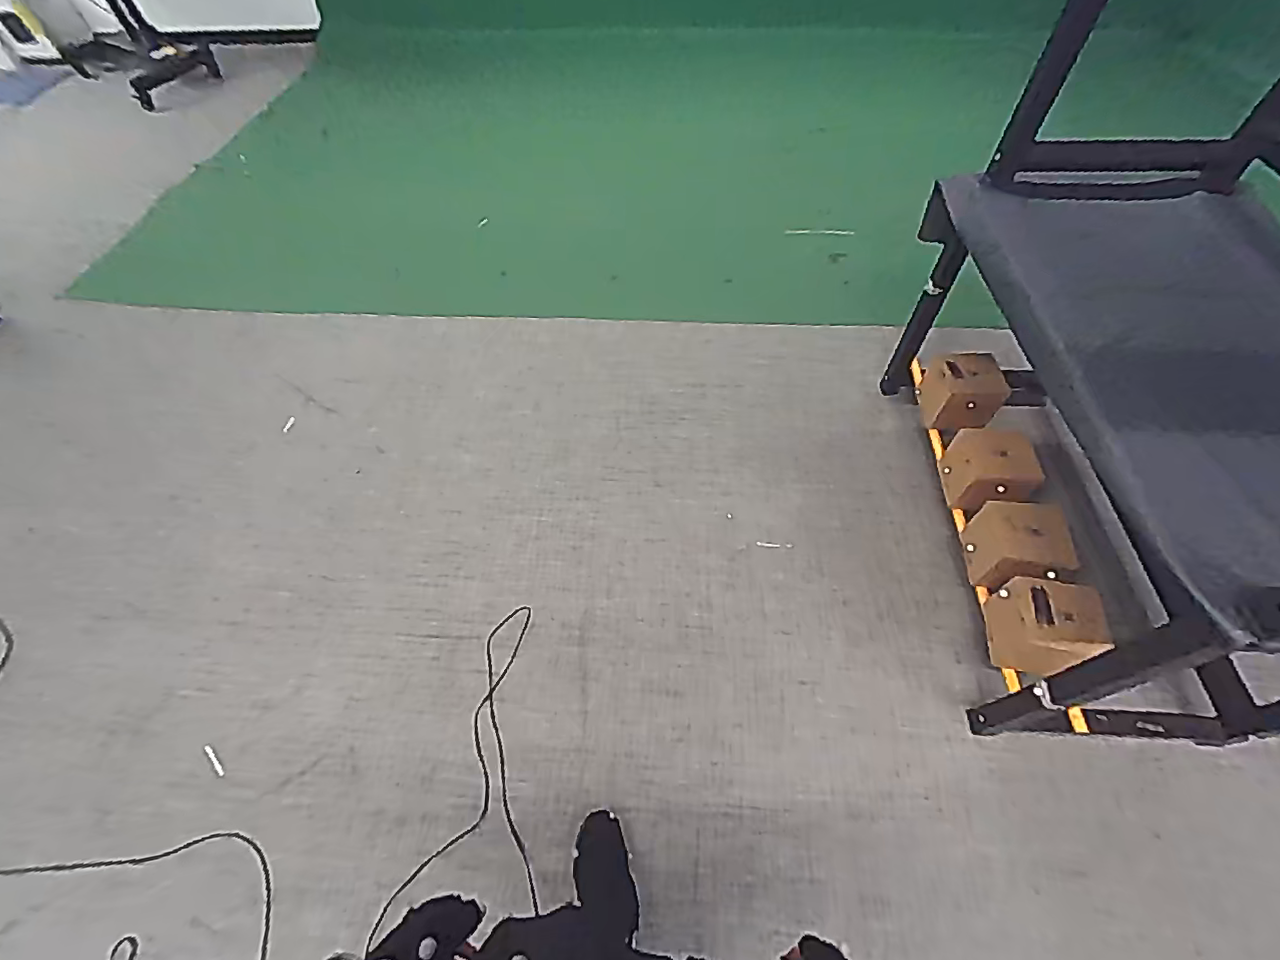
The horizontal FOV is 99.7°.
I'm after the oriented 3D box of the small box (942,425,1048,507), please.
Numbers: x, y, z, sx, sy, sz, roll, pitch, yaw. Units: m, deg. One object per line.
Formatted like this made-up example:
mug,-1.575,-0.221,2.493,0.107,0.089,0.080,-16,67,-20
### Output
small box,0.979,-0.036,1.508,0.179,0.176,0.168,2,57,7
